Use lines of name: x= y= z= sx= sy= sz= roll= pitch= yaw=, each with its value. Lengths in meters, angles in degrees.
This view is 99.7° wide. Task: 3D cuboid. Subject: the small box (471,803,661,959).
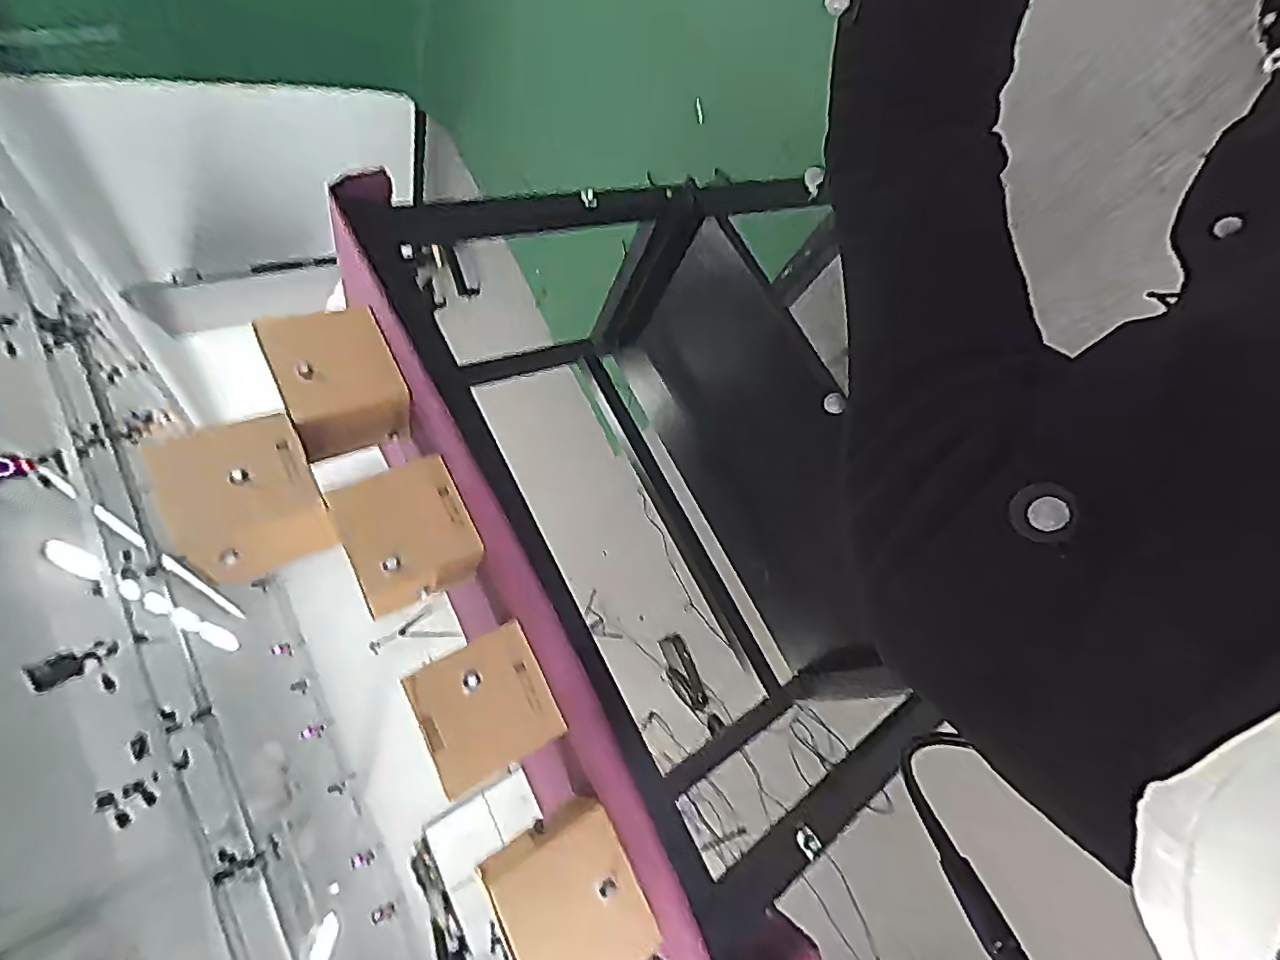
small box: x=-0.102 y=0.557 z=0.709 sx=0.179 sy=0.176 sz=0.168 roll=61 pitch=149 yaw=14

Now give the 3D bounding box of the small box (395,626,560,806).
small box: x=-0.231 y=0.323 z=0.769 sx=0.168 sy=0.176 sz=0.179 roll=63 pitch=150 yaw=10

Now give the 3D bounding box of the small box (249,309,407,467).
small box: x=-0.492 y=-0.151 z=0.879 sx=0.179 sy=0.176 sz=0.168 roll=61 pitch=150 yaw=11

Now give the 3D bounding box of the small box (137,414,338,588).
small box: x=-0.557 y=0.029 z=0.773 sx=0.168 sy=0.176 sz=0.179 roll=61 pitch=150 yaw=13
